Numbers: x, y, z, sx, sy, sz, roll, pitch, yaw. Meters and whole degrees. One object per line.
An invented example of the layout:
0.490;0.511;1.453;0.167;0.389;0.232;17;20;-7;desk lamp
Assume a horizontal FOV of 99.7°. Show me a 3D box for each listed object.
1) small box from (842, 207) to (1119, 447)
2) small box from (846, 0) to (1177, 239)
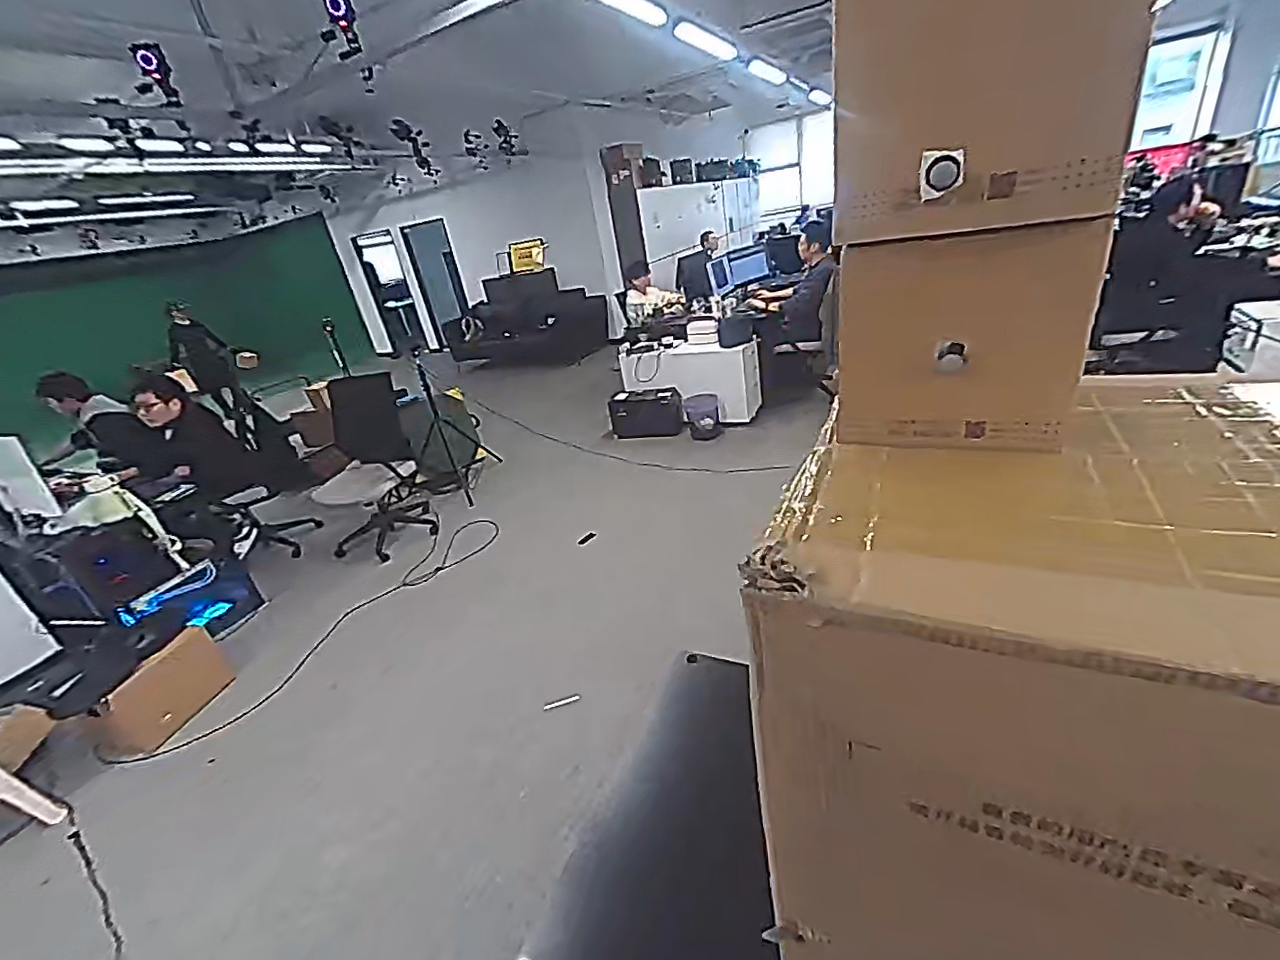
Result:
0.275;-0.137;0.468;0.168;0.176;0.179;5;30;27;small box
0.245;-0.275;0.384;0.168;0.176;0.179;5;29;30;small box
